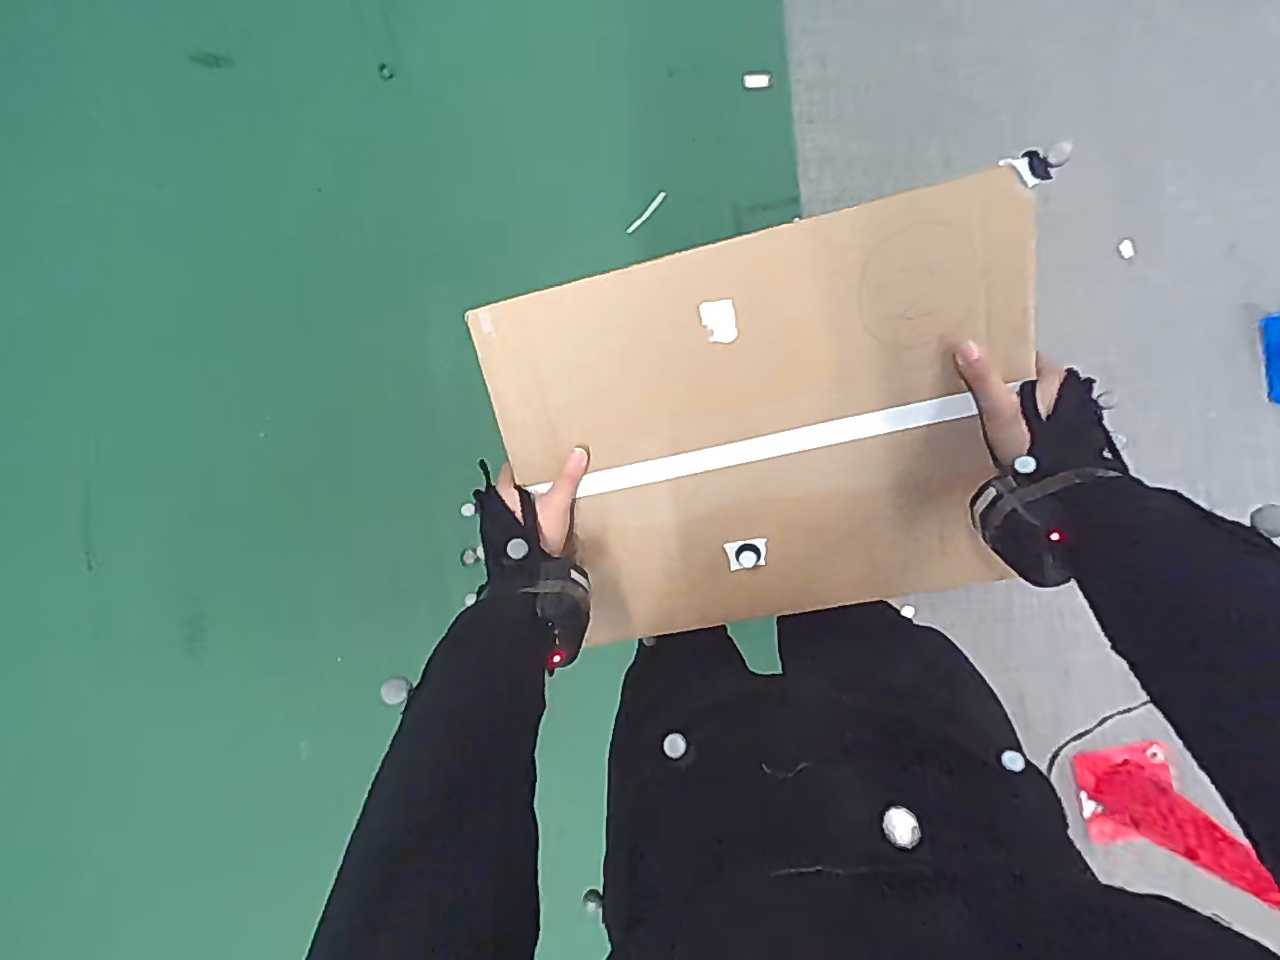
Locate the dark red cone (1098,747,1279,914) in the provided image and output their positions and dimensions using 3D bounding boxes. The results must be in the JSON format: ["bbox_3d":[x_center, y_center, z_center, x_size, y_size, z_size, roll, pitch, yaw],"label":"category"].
[{"bbox_3d":[1.047,0.660,0.950,0.201,0.394,0.202,-14,89,5],"label":"dark red cone"}]

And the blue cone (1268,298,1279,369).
[{"bbox_3d":[1.431,-0.305,0.980,0.193,0.380,0.192,-7,89,2],"label":"blue cone"}]
